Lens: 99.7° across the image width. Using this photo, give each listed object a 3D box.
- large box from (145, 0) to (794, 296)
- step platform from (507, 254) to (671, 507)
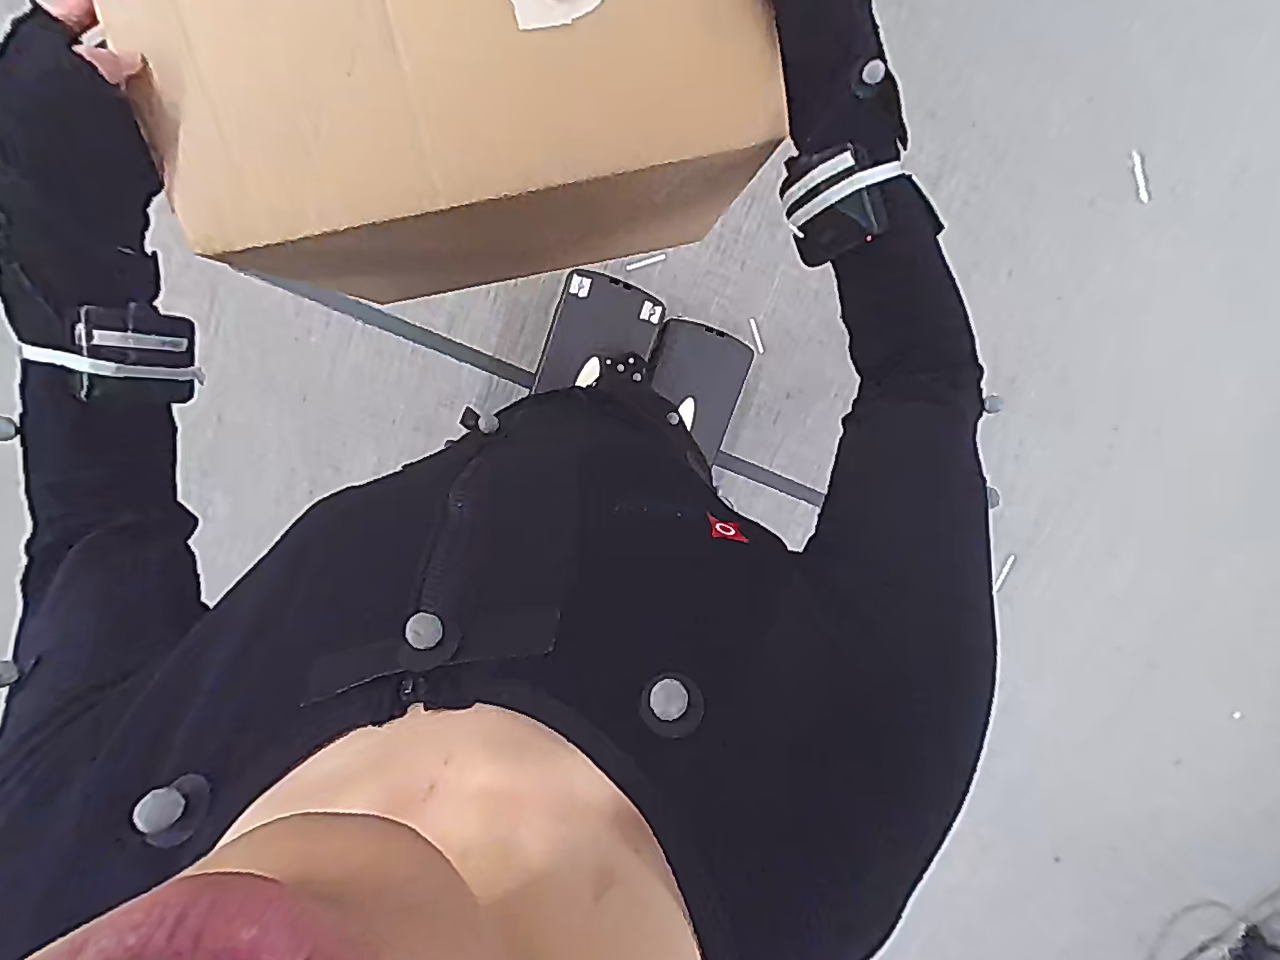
[{"bbox_3d":[-0.128,-0.379,0.484,0.408,0.320,0.320,-12,104,-2],"label":"large box"},{"bbox_3d":[-0.148,-0.269,1.530,0.286,0.204,0.684,18,97,-9],"label":"step platform"}]
